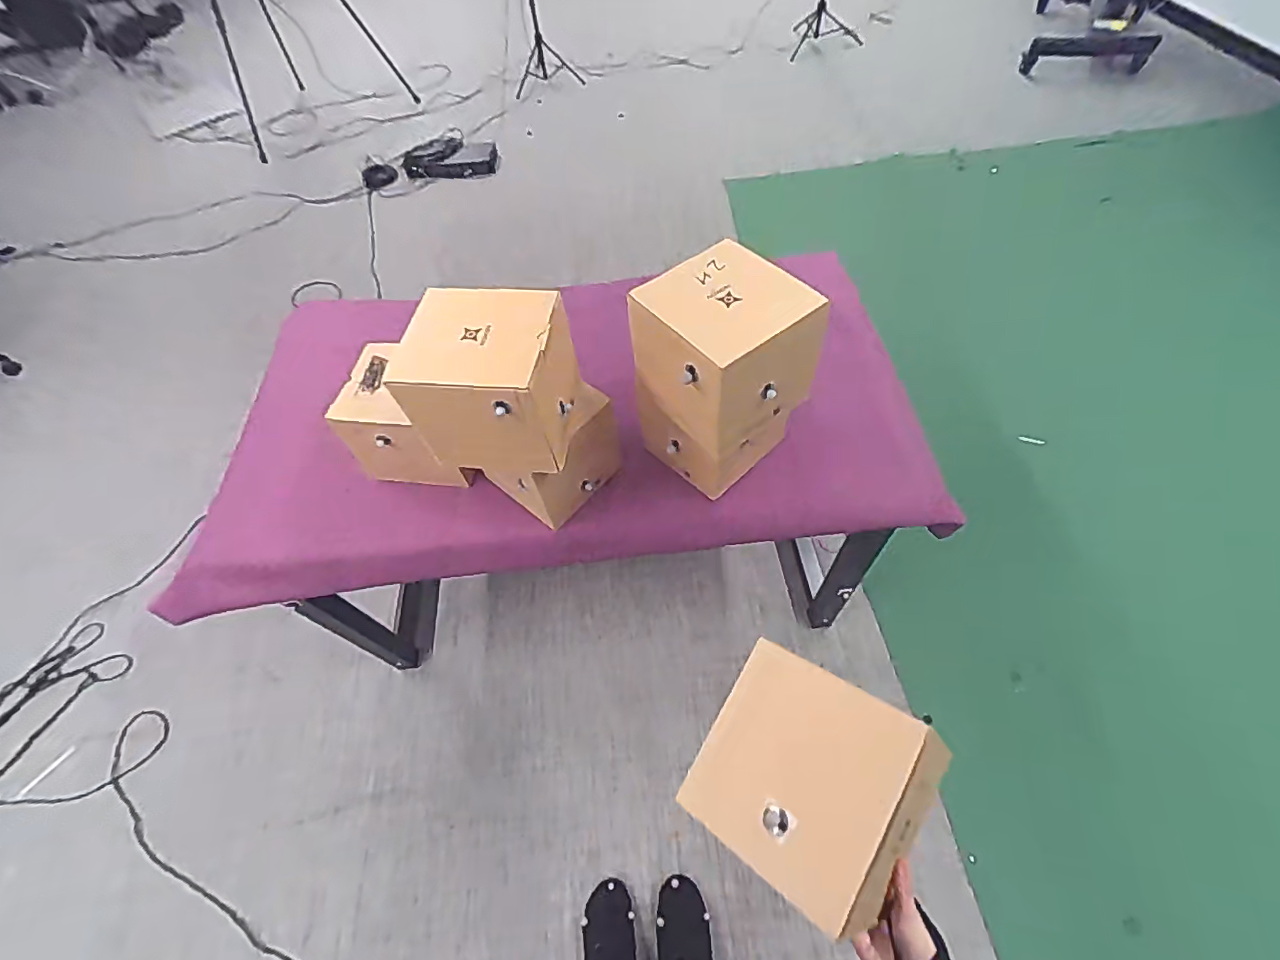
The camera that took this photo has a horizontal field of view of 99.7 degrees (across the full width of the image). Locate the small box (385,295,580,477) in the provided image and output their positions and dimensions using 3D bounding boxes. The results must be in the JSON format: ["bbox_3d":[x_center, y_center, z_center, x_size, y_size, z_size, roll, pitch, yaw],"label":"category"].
[{"bbox_3d":[-0.187,-0.118,0.705,0.179,0.176,0.168,4,56,6],"label":"small box"}]

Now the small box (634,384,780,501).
[{"bbox_3d":[0.115,-0.098,0.865,0.179,0.176,0.168,-40,62,-20],"label":"small box"}]

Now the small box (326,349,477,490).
[{"bbox_3d":[-0.367,-0.097,0.902,0.179,0.176,0.168,5,57,7],"label":"small box"}]

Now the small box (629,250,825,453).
[{"bbox_3d":[0.107,-0.159,0.707,0.168,0.176,0.179,-33,58,-17],"label":"small box"}]

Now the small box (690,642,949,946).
[{"bbox_3d":[0.171,0.291,0.525,0.176,0.168,0.179,21,72,41],"label":"small box"}]
